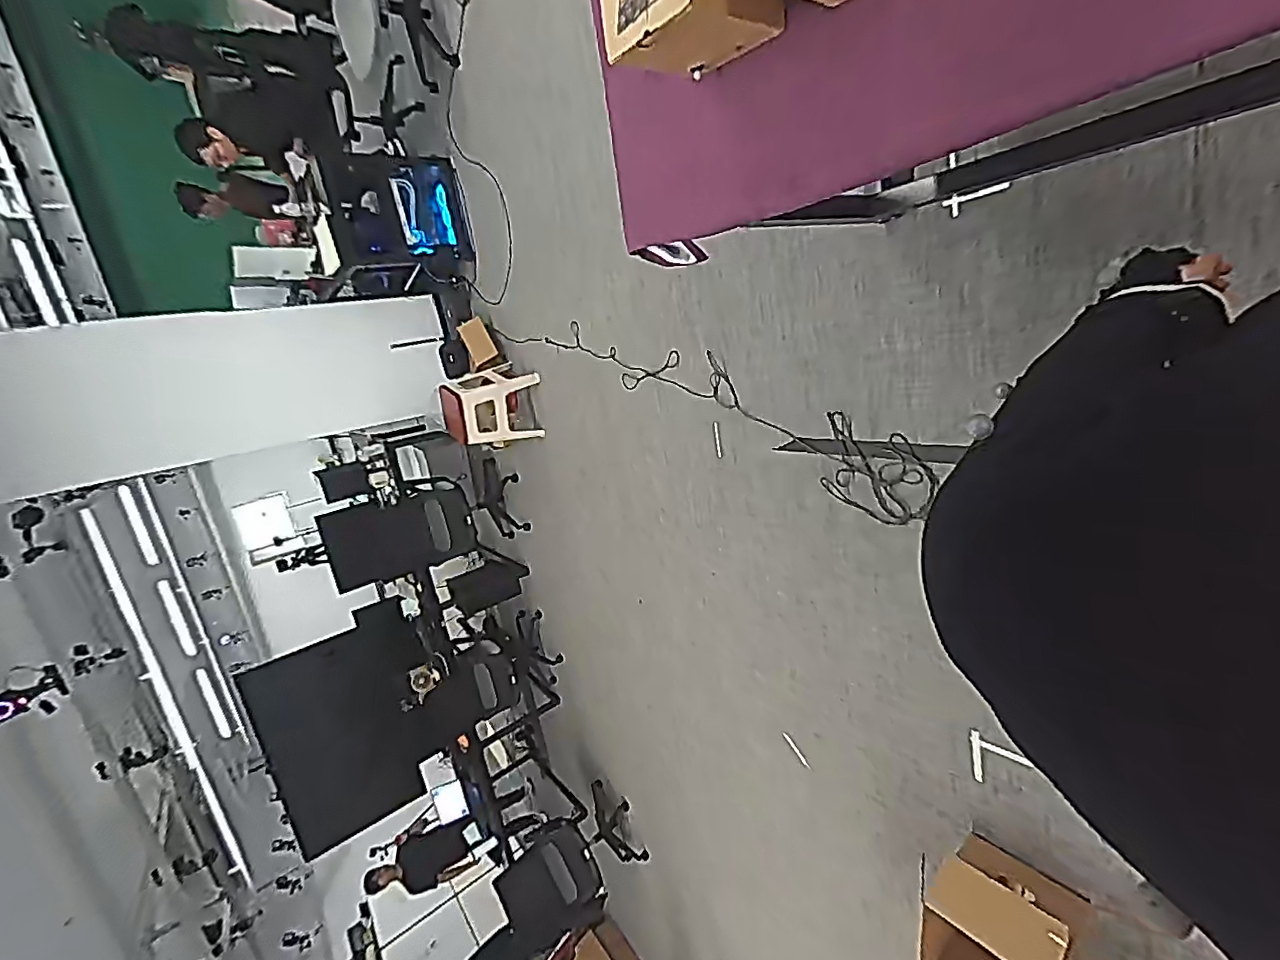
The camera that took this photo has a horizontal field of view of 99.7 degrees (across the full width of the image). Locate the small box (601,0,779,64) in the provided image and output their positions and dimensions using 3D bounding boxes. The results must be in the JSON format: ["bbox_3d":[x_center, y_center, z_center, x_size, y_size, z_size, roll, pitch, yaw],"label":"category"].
[{"bbox_3d":[0.061,-0.651,0.674,0.168,0.176,0.179,17,121,50],"label":"small box"}]
